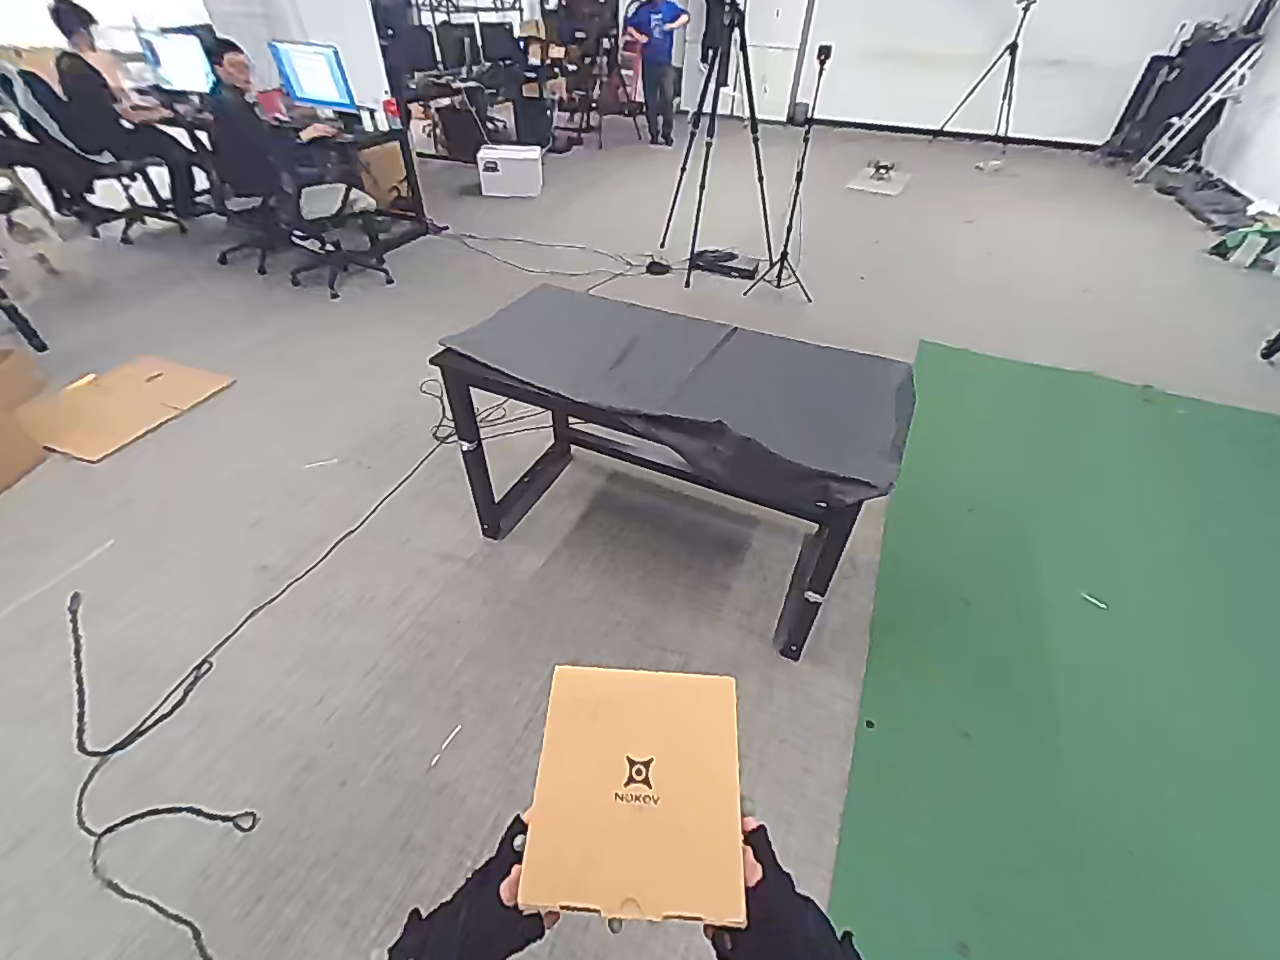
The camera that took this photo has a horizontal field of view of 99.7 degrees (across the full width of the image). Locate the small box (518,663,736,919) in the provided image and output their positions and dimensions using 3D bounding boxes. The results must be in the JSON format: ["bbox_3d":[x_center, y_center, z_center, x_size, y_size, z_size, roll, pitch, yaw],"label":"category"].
[{"bbox_3d":[-0.007,0.292,0.511,0.168,0.176,0.179,4,54,1],"label":"small box"}]
